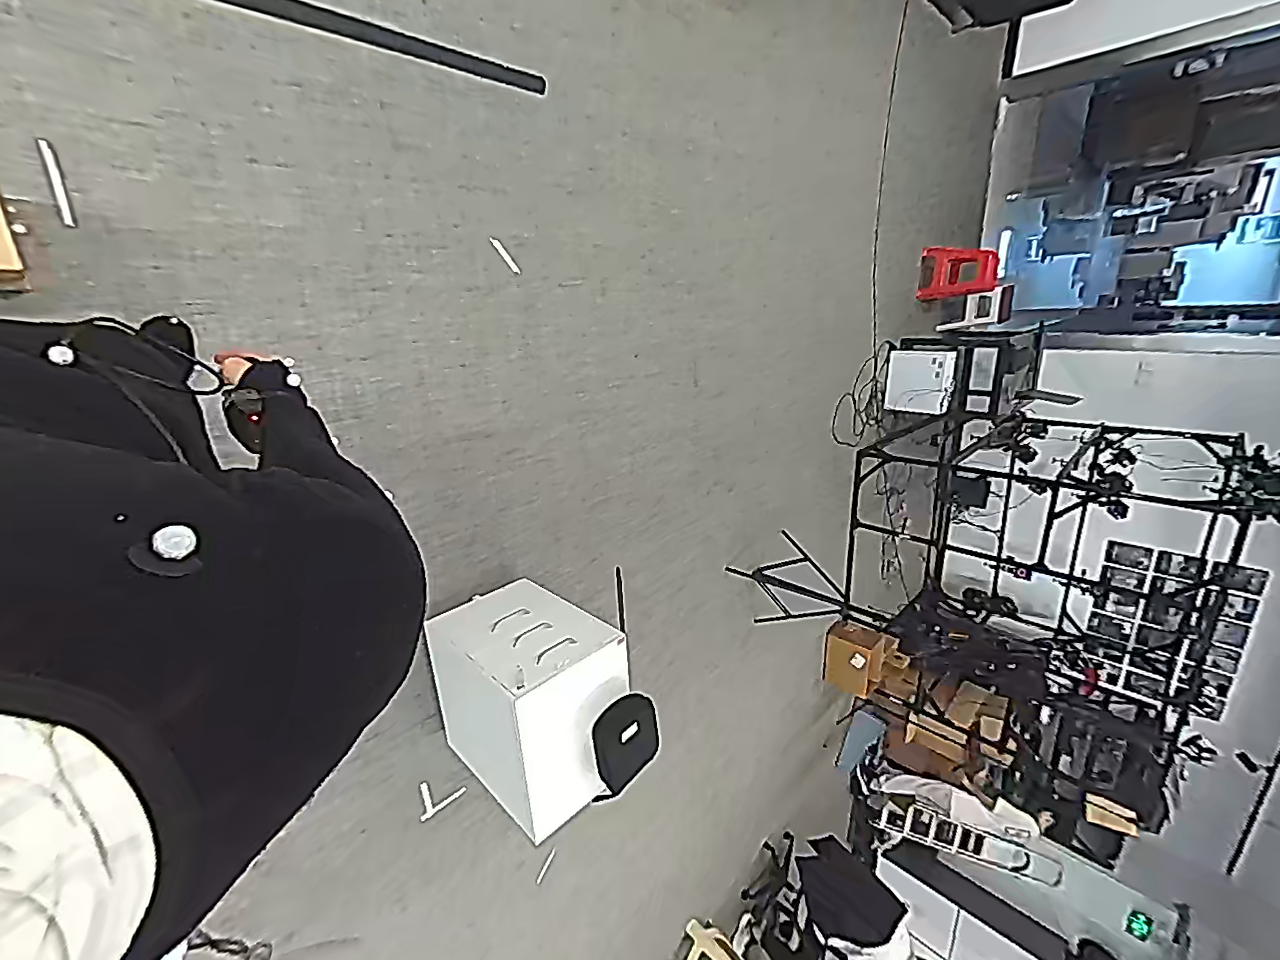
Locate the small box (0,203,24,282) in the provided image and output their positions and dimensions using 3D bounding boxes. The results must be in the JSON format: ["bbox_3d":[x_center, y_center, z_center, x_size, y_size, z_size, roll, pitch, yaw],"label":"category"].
[{"bbox_3d":[-1.088,-0.392,0.817,0.179,0.176,0.168,-19,114,-43],"label":"small box"}]
